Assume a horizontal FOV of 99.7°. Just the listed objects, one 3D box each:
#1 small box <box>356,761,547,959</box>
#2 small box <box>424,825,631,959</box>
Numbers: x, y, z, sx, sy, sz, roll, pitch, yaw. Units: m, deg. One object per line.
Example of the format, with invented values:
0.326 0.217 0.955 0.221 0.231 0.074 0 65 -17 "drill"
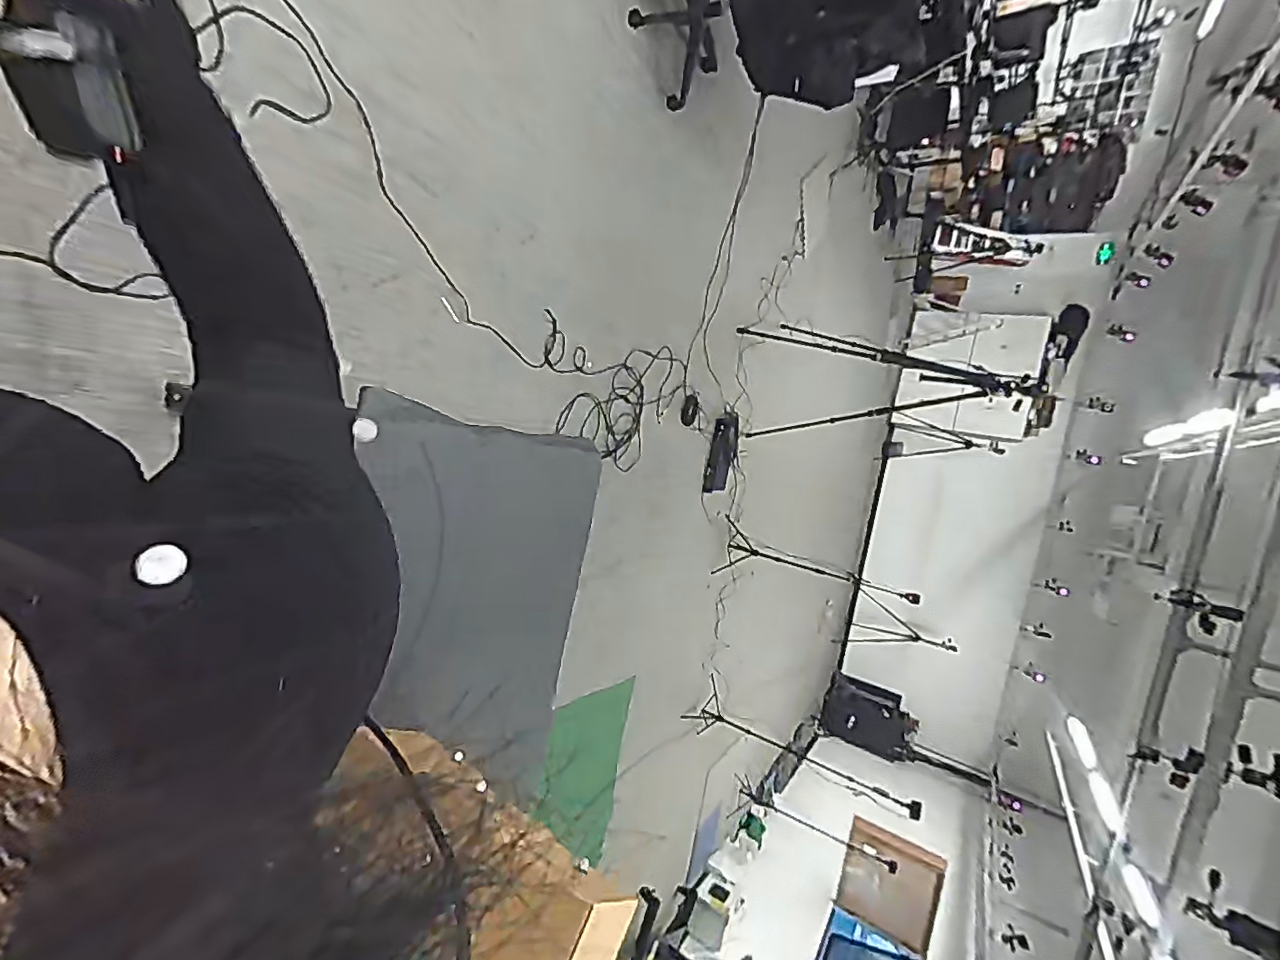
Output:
-0.277 0.549 0.792 0.179 0.176 0.168 -61 146 -24 "small box"
-0.143 0.586 0.707 0.179 0.176 0.168 -61 146 -23 "small box"
